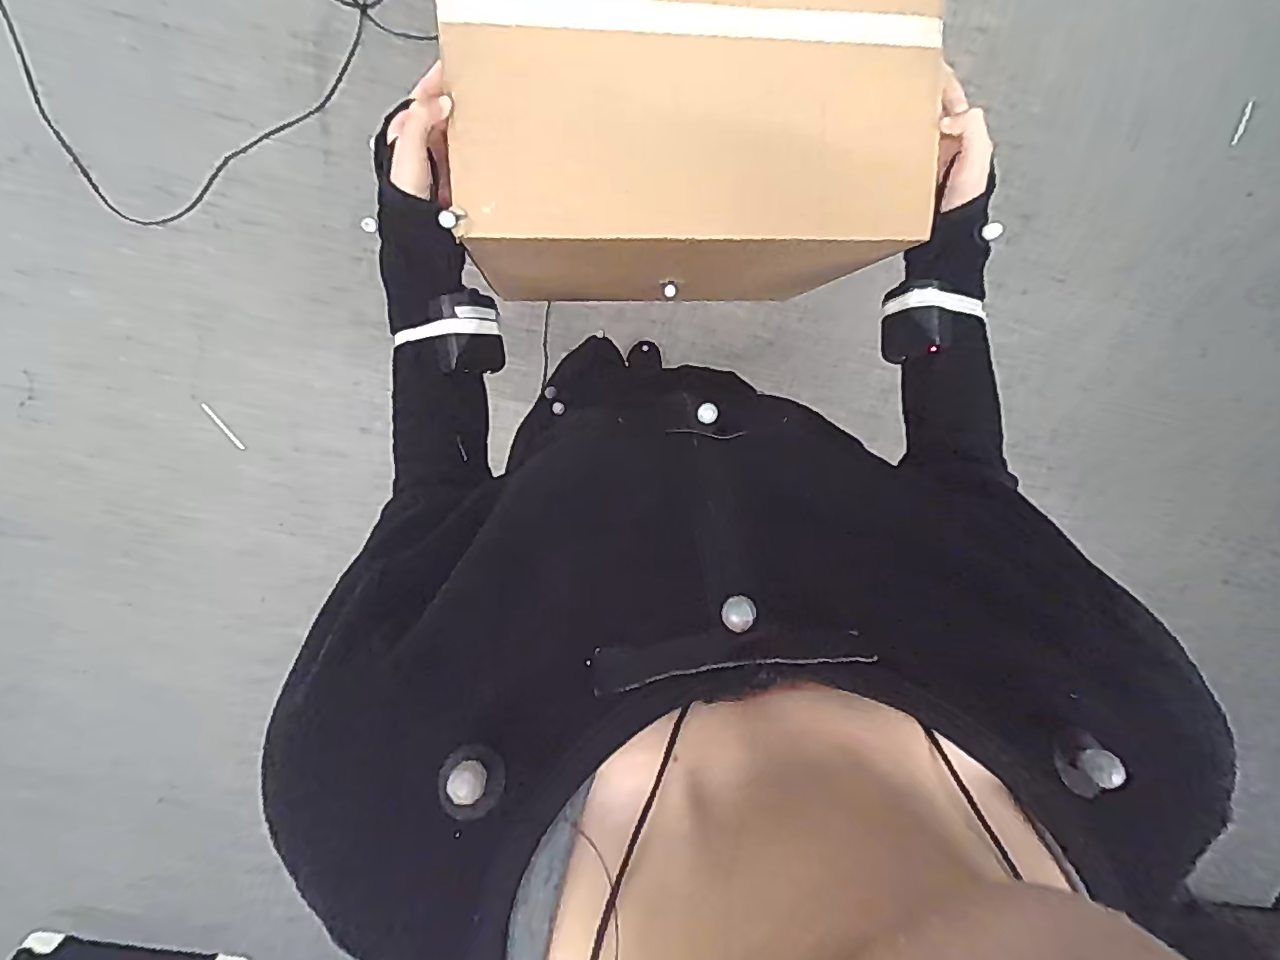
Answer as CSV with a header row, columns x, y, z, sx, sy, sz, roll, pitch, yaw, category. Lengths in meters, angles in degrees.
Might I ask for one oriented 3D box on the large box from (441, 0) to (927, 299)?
x,y,z,sx,sy,sz,roll,pitch,yaw,category
0.029,-0.381,0.585,0.408,0.320,0.320,-3,99,-7,large box
